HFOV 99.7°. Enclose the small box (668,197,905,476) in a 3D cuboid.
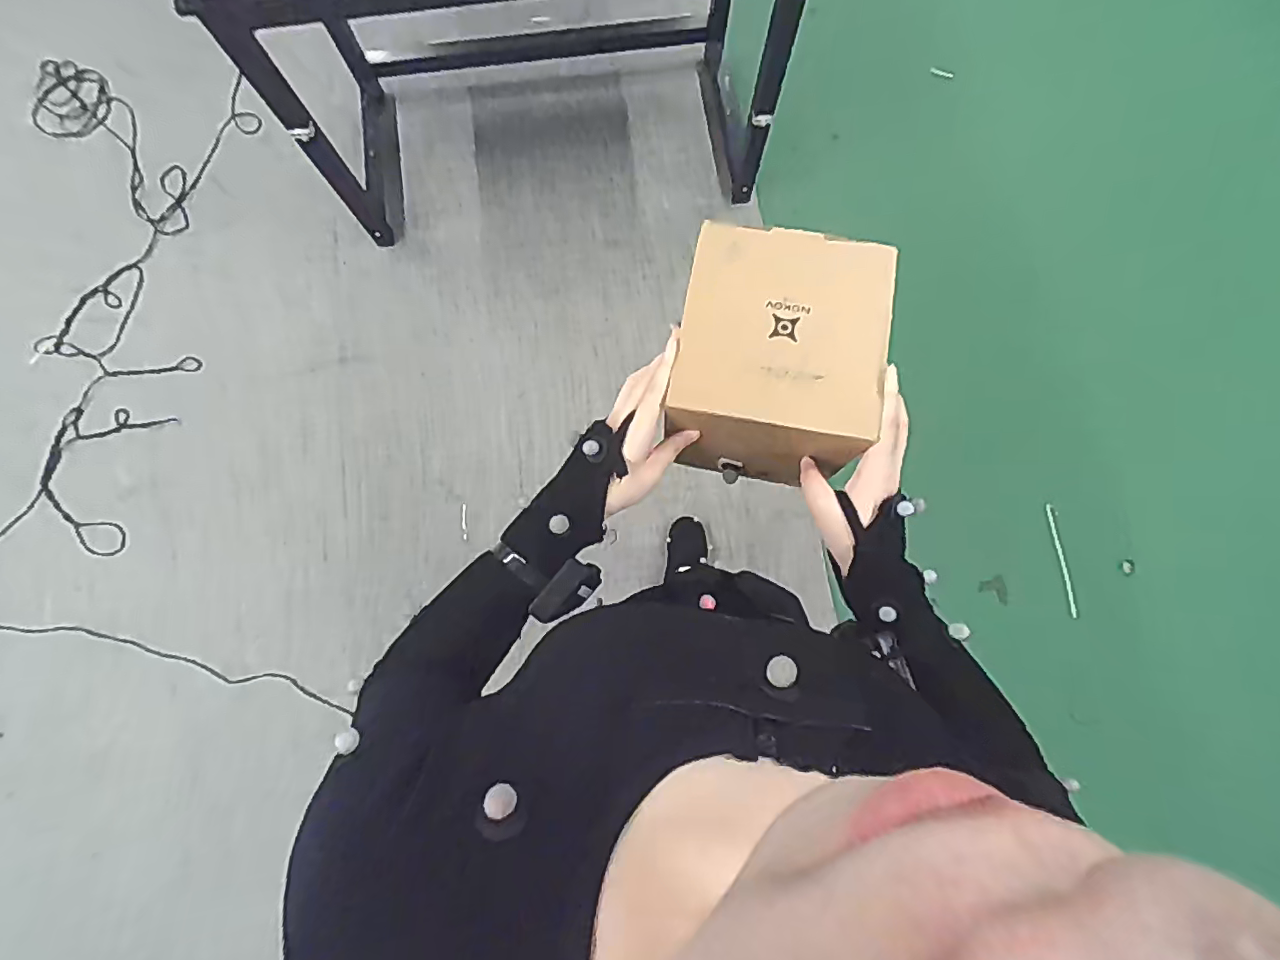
[{"bbox_3d":[0.120,-0.118,0.500,0.168,0.176,0.179,11,78,5],"label":"small box"}]
